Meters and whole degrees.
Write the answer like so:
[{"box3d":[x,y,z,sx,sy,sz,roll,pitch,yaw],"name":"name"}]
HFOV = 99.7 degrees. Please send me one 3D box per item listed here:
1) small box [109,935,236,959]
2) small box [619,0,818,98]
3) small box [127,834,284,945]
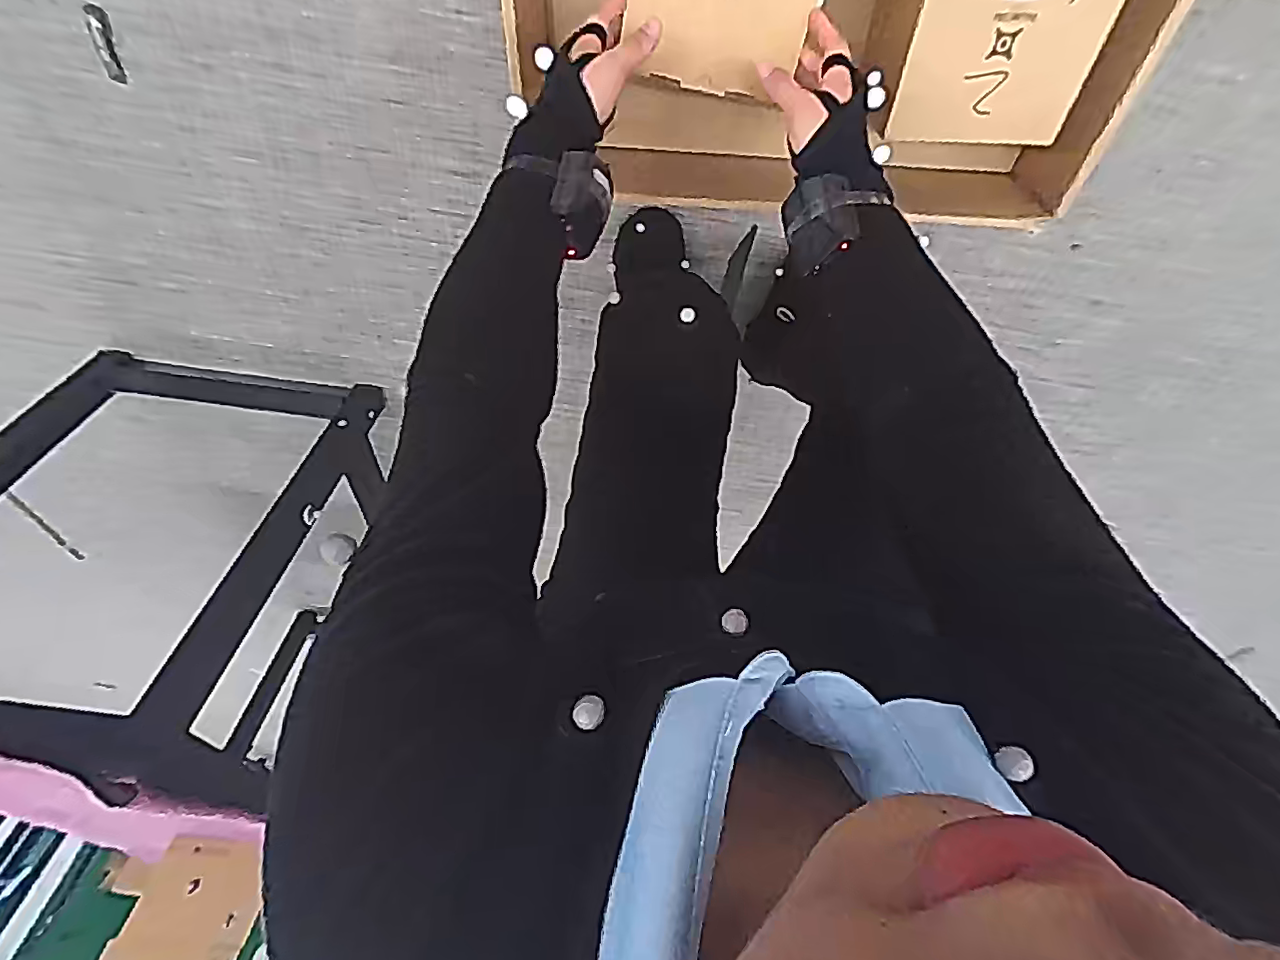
[{"box3d":[-0.923,0.987,1.036,0.179,0.176,0.168,8,138,-1],"name":"small box"},{"box3d":[0.072,-0.483,0.500,0.168,0.176,0.179,6,131,-7],"name":"small box"},{"box3d":[-0.902,0.865,1.145,0.168,0.176,0.179,9,139,-2],"name":"small box"}]
